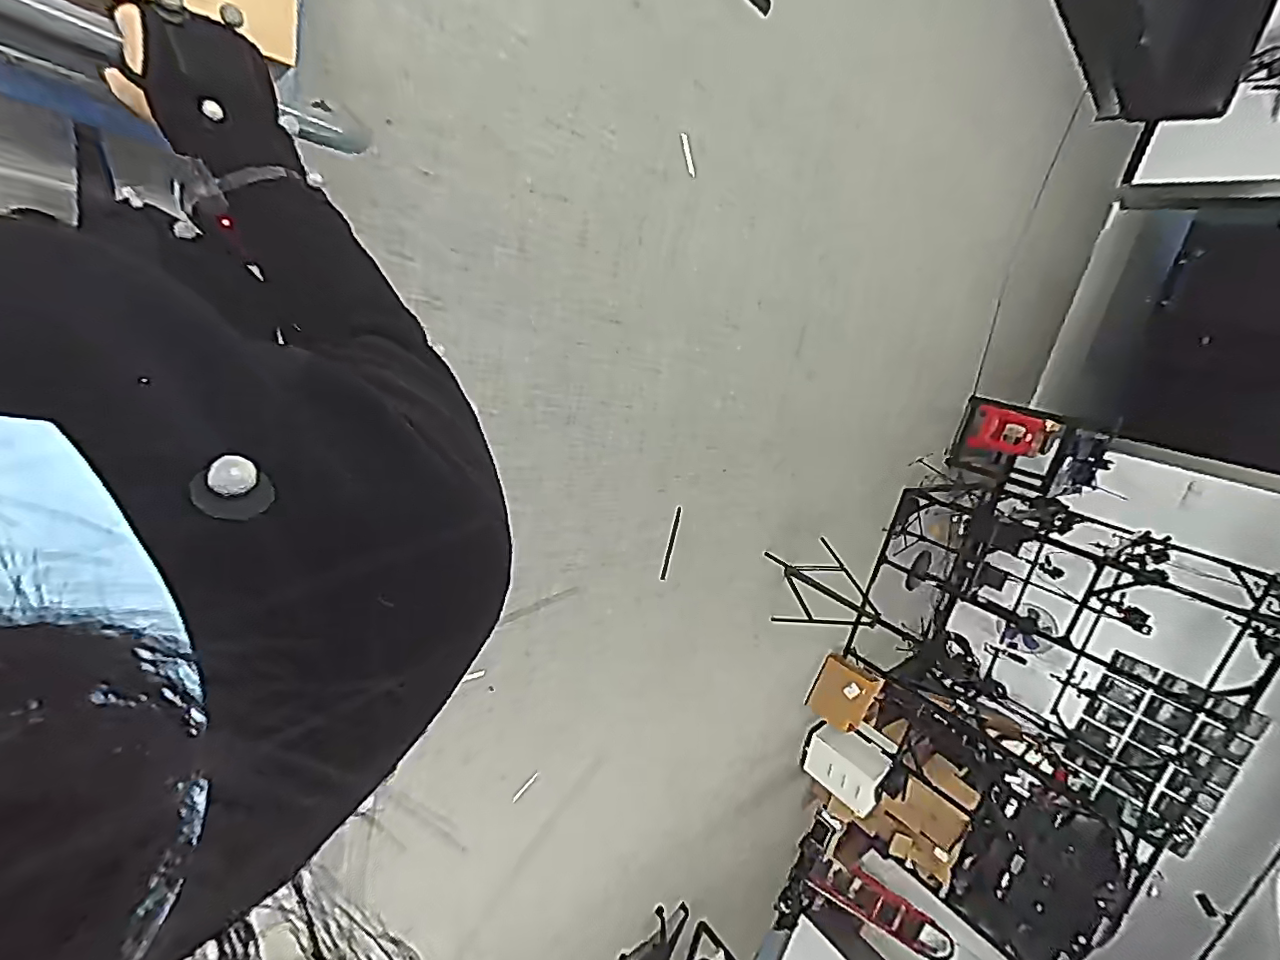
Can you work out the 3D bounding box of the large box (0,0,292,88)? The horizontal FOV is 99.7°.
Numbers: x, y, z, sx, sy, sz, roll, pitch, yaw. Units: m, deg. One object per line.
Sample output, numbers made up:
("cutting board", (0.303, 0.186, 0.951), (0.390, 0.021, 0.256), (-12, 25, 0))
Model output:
("large box", (-0.705, -0.769, 0.679), (0.408, 0.320, 0.320), (-4, 113, -44))
